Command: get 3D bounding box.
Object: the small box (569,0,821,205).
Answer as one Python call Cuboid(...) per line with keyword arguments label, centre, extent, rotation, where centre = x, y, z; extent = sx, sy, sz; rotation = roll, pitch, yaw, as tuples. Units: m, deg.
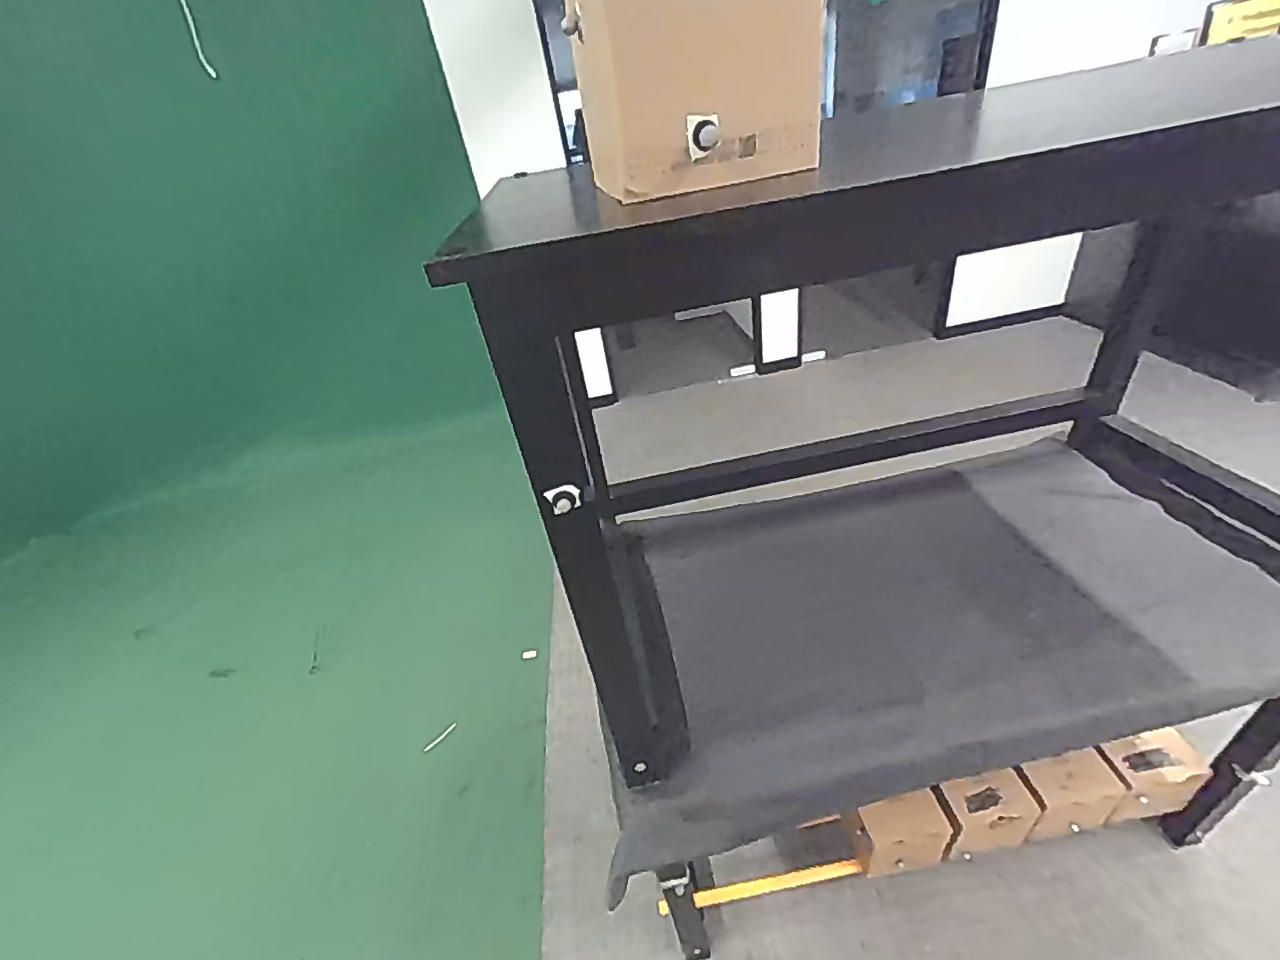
Cuboid(label="small box", centre=(0.040, -0.347, 0.469), extent=(0.168, 0.176, 0.179), rotation=(-14, 34, -5))
